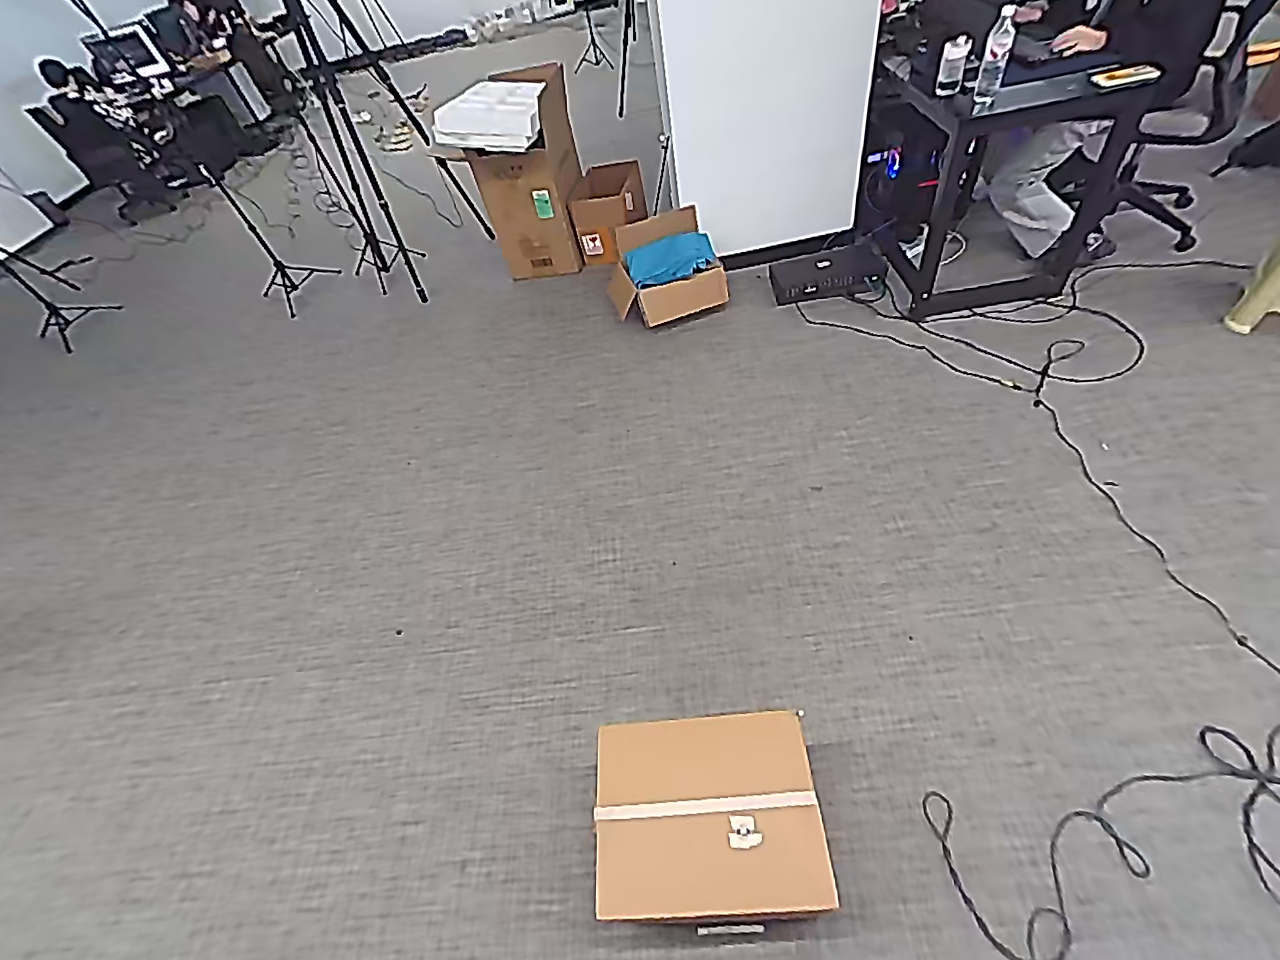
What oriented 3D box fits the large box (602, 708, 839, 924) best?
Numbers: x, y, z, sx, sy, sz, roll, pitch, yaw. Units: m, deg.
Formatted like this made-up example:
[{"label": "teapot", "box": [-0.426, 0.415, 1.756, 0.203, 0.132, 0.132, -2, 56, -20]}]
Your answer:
[{"label": "large box", "box": [0.147, 0.692, 1.104, 0.408, 0.320, 0.320, -7, 49, 6]}]
